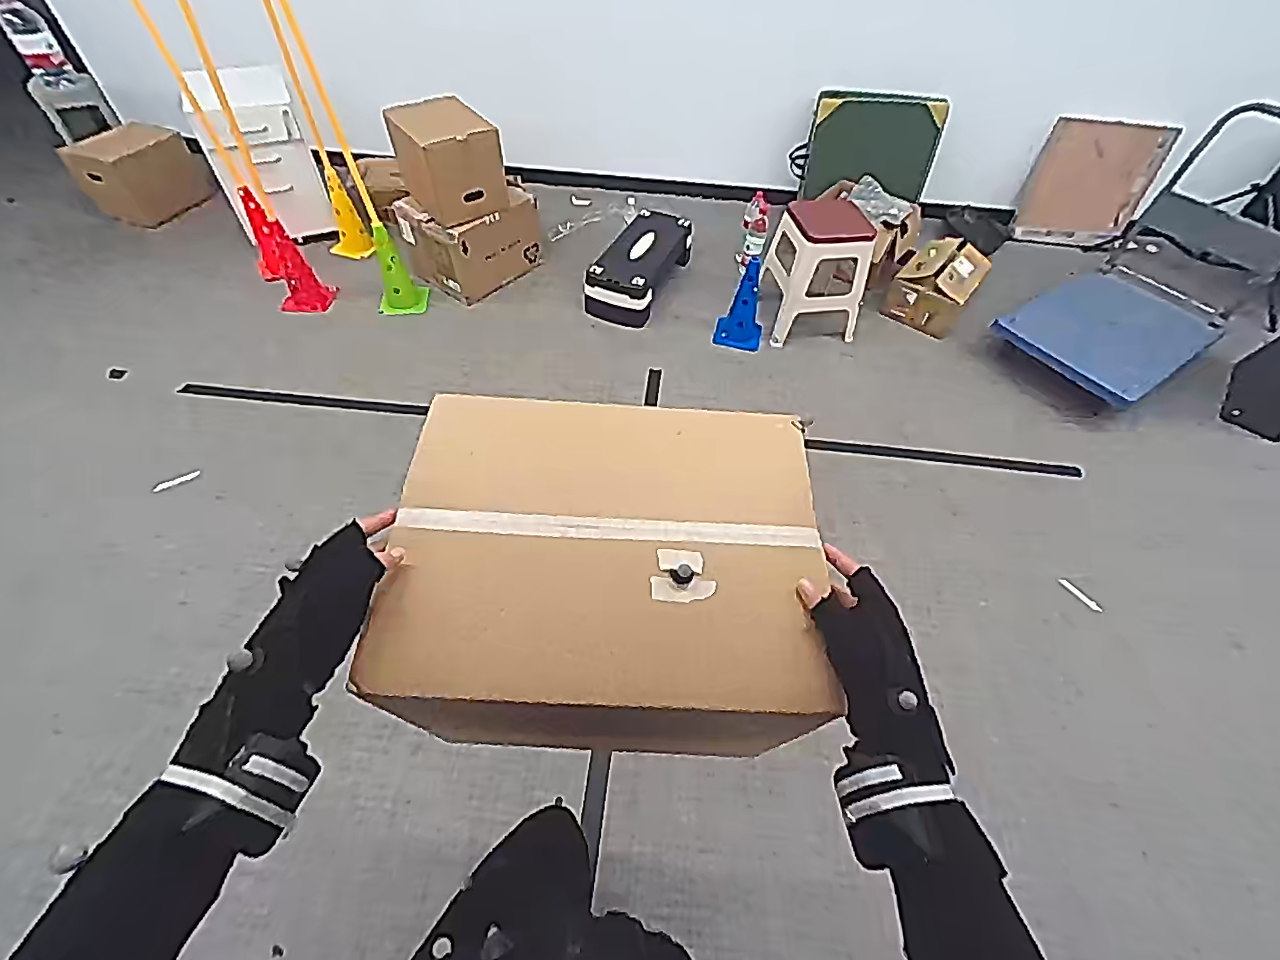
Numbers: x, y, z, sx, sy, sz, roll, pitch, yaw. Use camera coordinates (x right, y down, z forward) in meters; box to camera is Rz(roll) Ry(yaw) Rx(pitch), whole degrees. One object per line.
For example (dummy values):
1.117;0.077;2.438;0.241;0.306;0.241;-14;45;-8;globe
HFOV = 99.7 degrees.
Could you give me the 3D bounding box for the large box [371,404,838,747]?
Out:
-0.035;0.132;0.657;0.408;0.320;0.320;4;58;-2;large box
